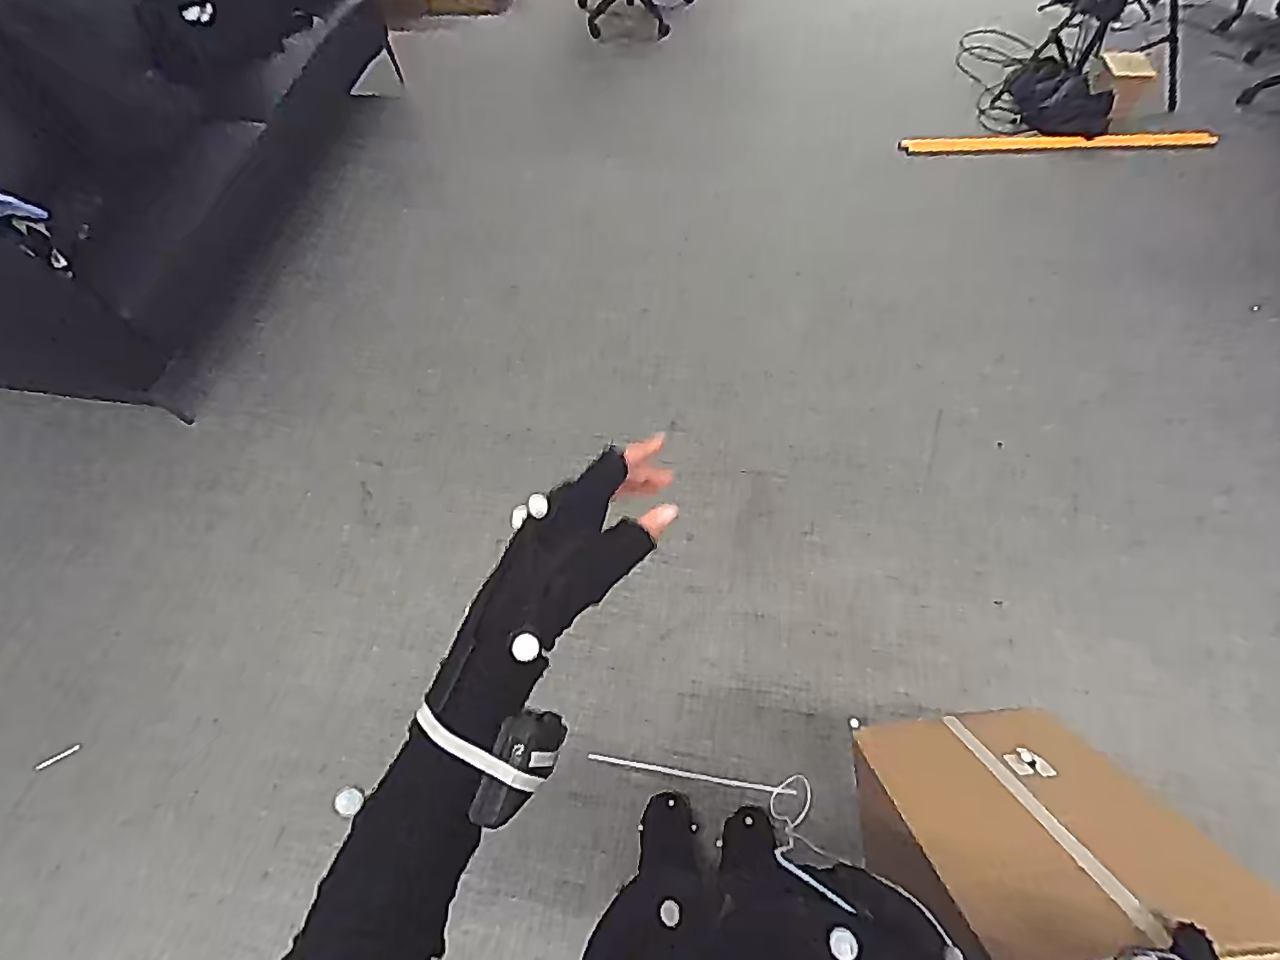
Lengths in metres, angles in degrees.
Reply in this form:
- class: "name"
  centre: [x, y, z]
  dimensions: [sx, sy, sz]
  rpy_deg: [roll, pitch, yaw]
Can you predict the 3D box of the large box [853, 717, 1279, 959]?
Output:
- class: "large box"
  centre: [0.520, 0.580, 0.711]
  dimensions: [0.320, 0.408, 0.320]
  rpy_deg: [-7, 96, 3]
